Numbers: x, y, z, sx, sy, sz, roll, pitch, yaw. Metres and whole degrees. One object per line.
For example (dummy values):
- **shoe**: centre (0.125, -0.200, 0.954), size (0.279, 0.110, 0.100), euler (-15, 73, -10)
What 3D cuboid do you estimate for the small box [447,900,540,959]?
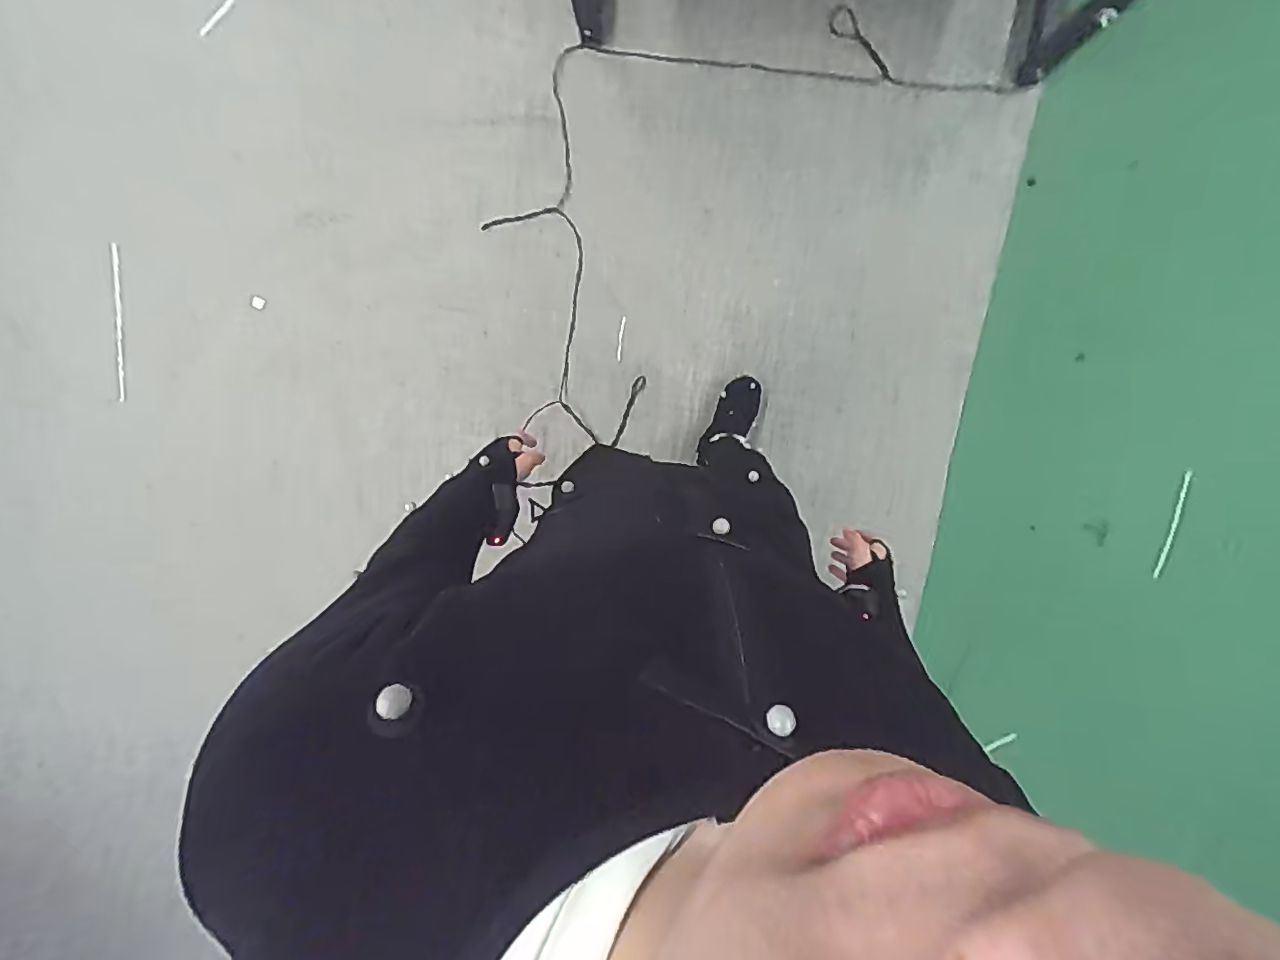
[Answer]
- **small box**: centre (-0.313, 1.023, 1.117), size (0.168, 0.176, 0.179), euler (10, 99, 2)
